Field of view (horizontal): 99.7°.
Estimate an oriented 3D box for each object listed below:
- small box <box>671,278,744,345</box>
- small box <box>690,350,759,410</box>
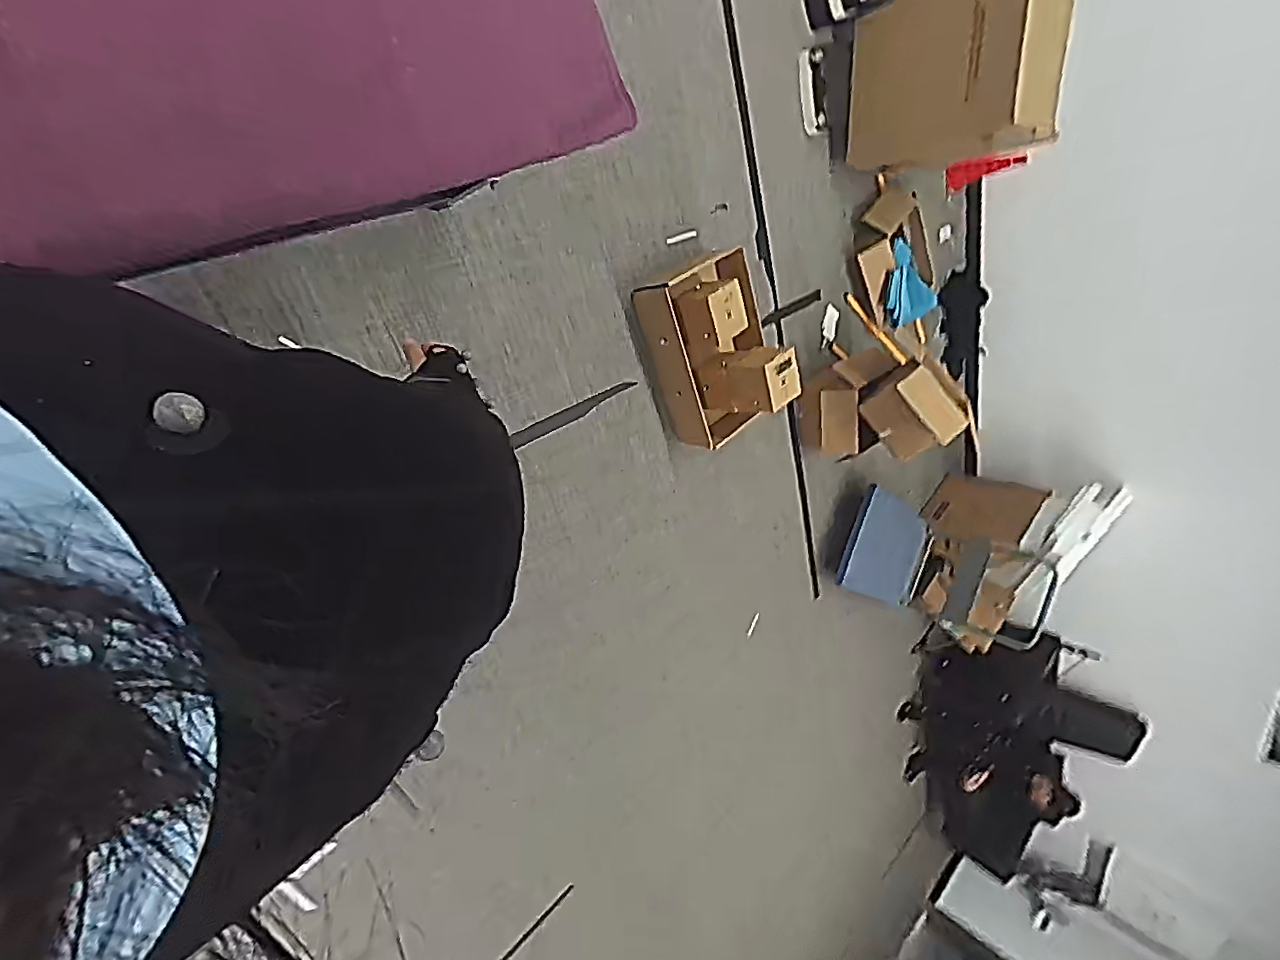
[{"bbox_3d":[0.236,-0.594,1.904,0.168,0.176,0.179,-40,125,-28],"label":"small box"},{"bbox_3d":[0.316,-0.381,2.029,0.179,0.176,0.168,-37,121,-28],"label":"small box"}]
